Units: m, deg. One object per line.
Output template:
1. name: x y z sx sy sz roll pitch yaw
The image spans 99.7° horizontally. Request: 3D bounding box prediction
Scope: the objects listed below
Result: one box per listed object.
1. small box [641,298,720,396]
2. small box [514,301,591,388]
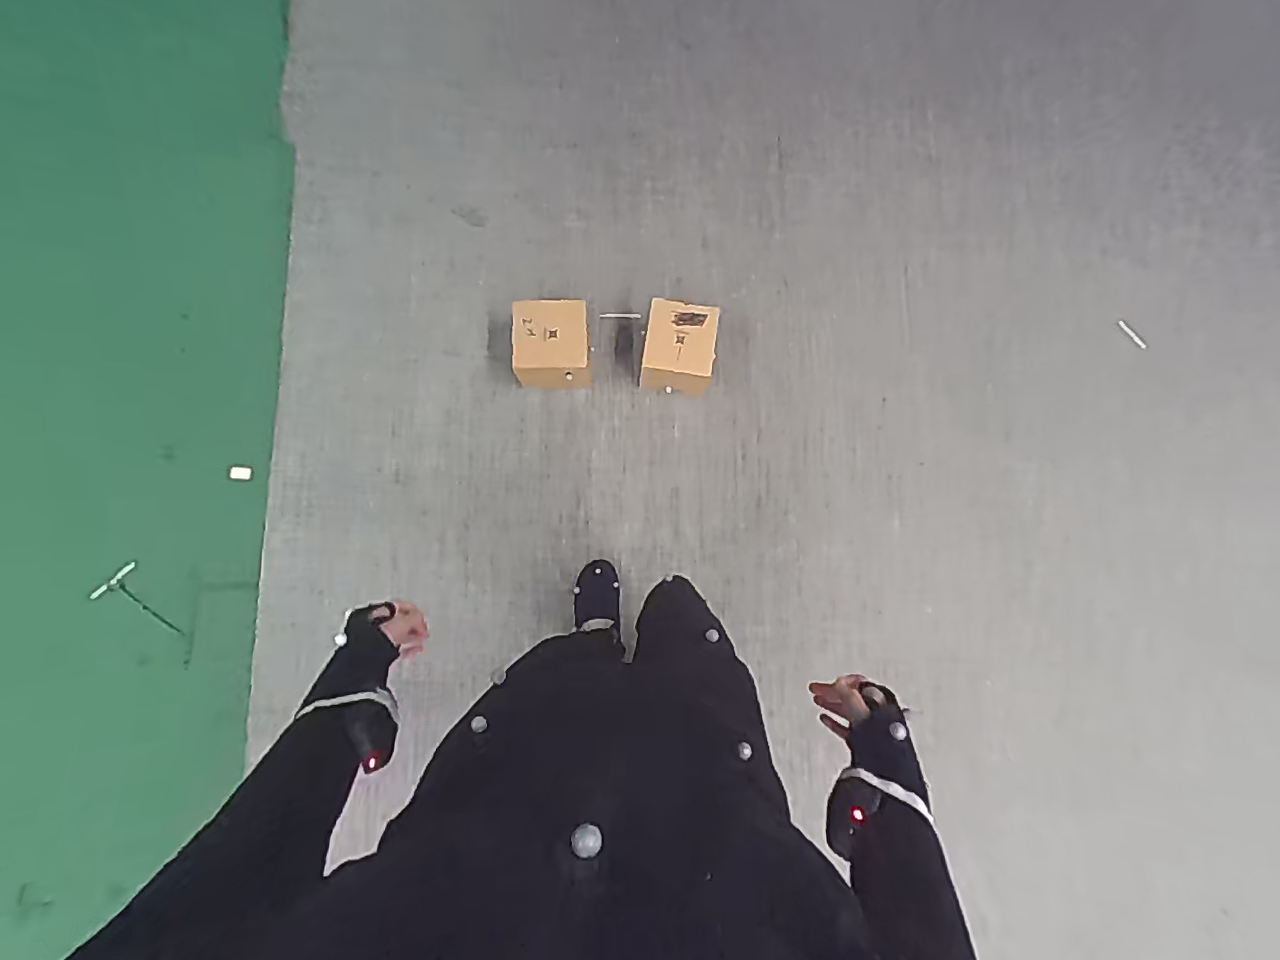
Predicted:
1. small box: 0.095 -0.328 1.356 0.168 0.176 0.179 9 83 0
2. small box: -0.211 -0.331 1.343 0.179 0.176 0.168 -1 83 -1
